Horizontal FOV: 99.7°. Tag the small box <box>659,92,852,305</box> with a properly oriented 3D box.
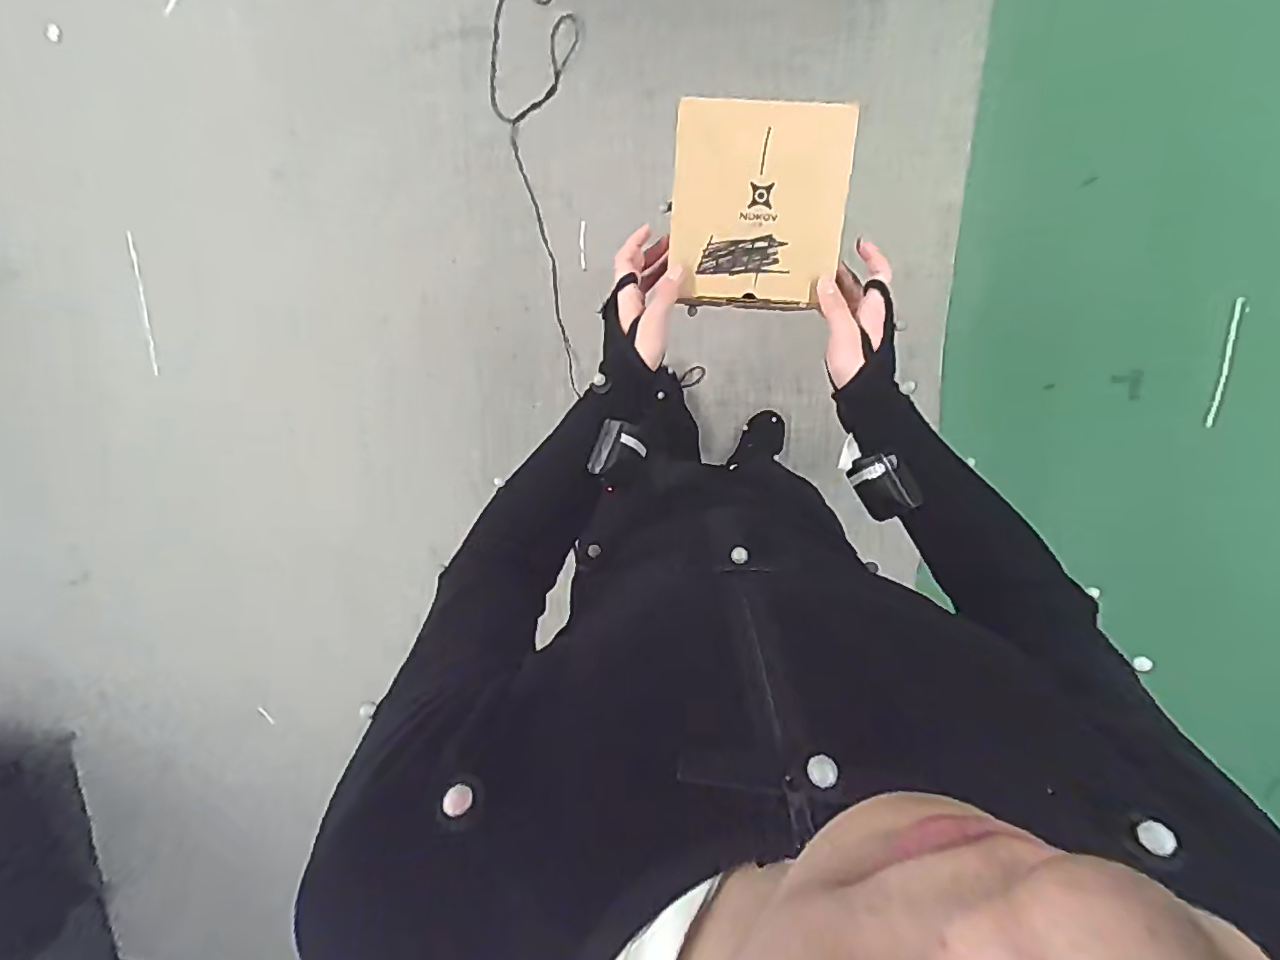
[{"bbox_3d":[0.111,-0.287,0.589,0.168,0.176,0.179,4,106,2],"label":"small box"}]
